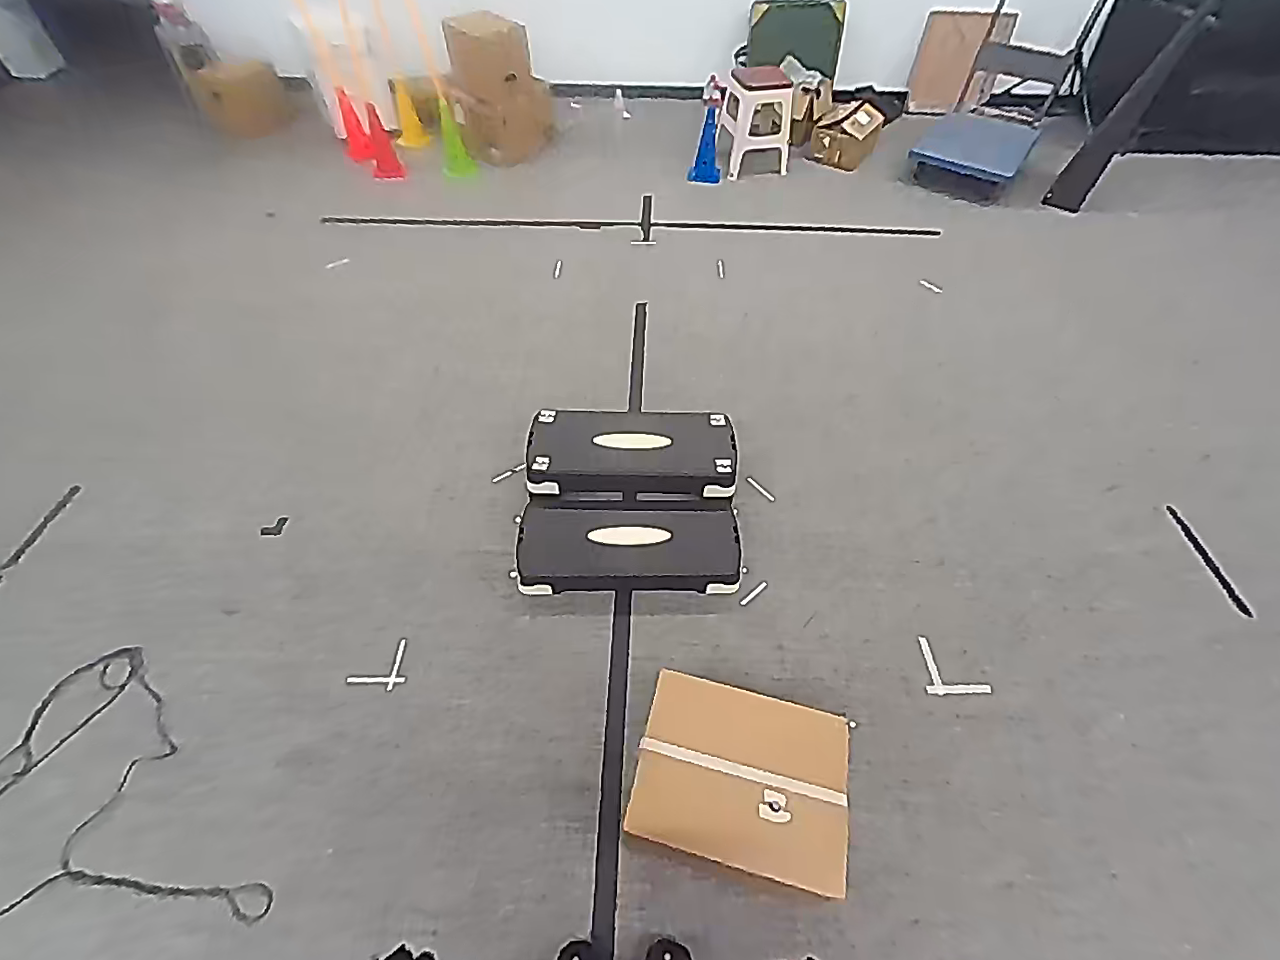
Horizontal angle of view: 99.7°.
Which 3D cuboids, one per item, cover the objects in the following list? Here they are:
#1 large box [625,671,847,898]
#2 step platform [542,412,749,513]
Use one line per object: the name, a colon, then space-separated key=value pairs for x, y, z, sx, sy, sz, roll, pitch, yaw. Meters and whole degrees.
large box: x=0.197 y=0.664 z=1.180 sx=0.408 sy=0.320 sz=0.320 roll=13 pitch=53 yaw=8
step platform: x=0.018 y=-0.063 z=1.807 sx=0.684 sy=0.204 sz=0.286 roll=1 pitch=52 yaw=-1
